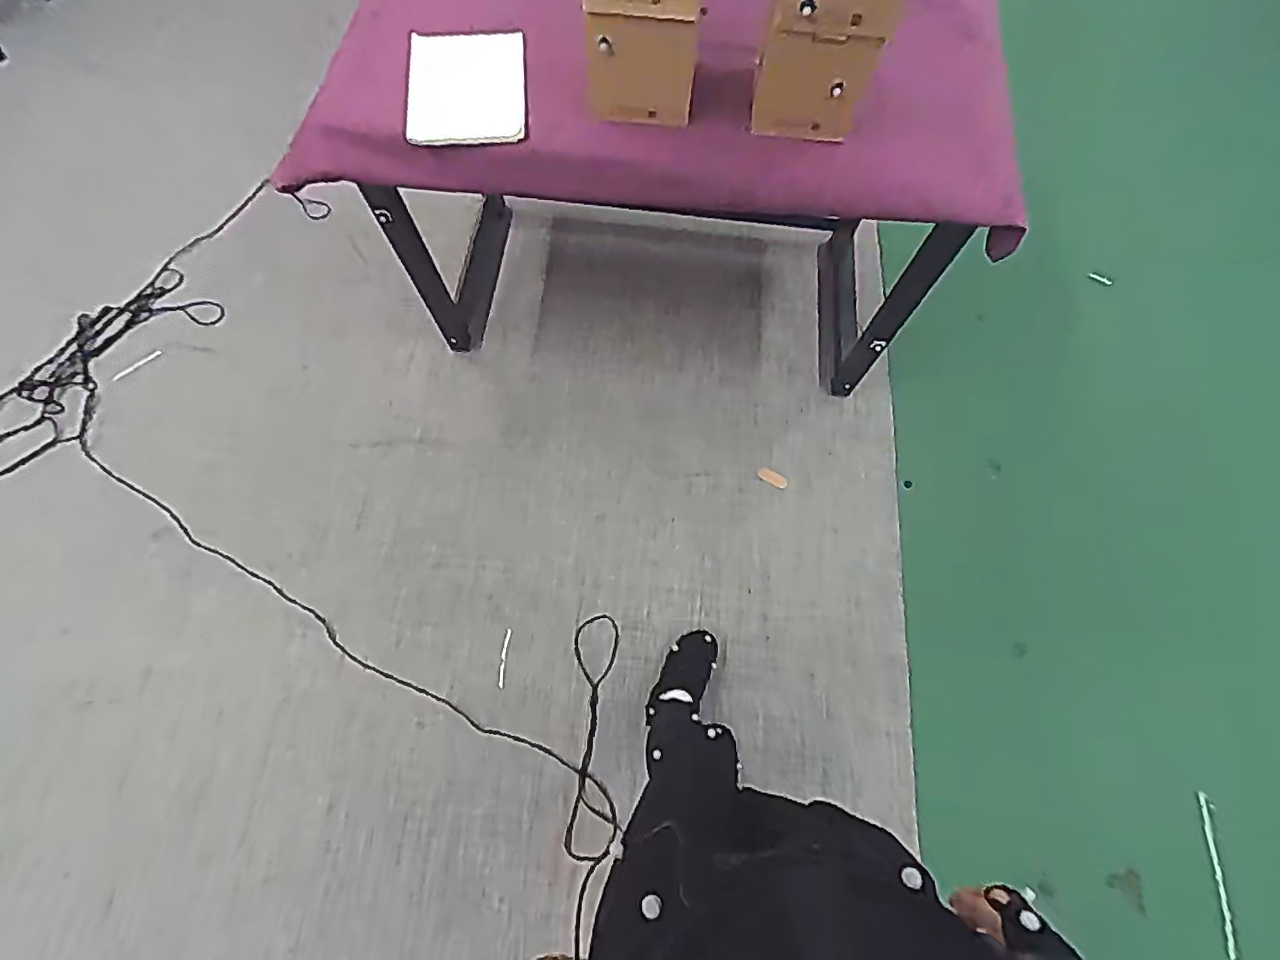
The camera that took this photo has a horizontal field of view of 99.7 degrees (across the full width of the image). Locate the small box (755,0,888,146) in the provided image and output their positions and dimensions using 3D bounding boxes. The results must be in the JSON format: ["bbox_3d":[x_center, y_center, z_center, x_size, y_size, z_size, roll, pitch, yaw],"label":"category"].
[{"bbox_3d":[0.287,-0.684,0.883,0.168,0.176,0.179,7,69,2],"label":"small box"}]

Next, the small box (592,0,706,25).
[{"bbox_3d":[0.018,-0.766,0.737,0.168,0.176,0.179,7,69,3],"label":"small box"}]

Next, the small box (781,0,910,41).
[{"bbox_3d":[0.293,-0.736,0.728,0.168,0.176,0.179,6,69,1],"label":"small box"}]
